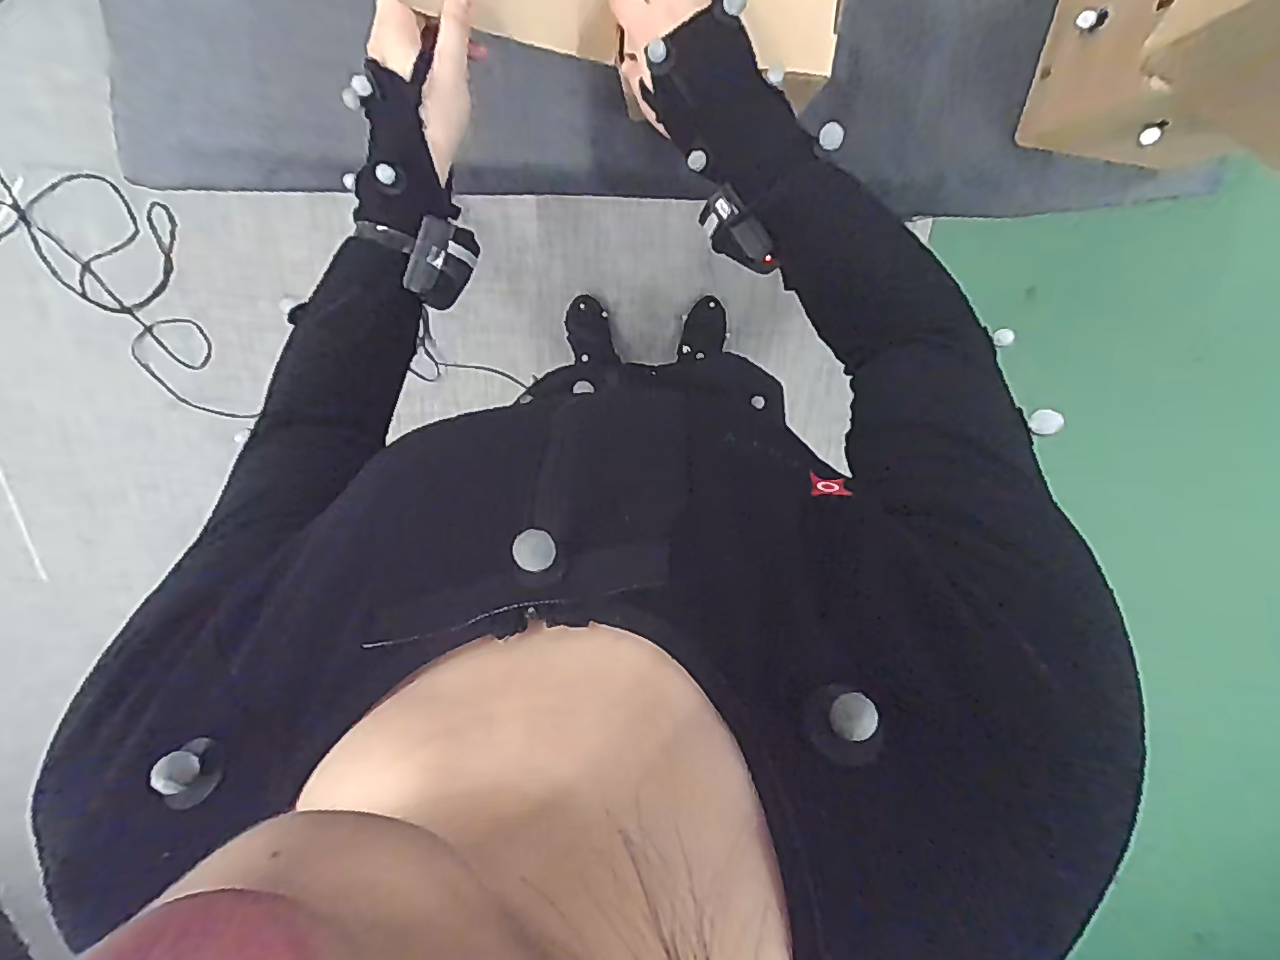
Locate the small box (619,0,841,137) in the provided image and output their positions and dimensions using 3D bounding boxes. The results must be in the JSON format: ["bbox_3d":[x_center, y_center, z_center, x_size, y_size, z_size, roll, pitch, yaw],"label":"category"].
[{"bbox_3d":[0.079,-0.430,0.495,0.179,0.176,0.168,5,110,2],"label":"small box"}]

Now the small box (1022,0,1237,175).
[{"bbox_3d":[0.504,-0.398,0.495,0.179,0.176,0.168,9,108,-1],"label":"small box"}]

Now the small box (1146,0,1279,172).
[{"bbox_3d":[0.503,-0.330,0.345,0.179,0.176,0.168,28,106,-9],"label":"small box"}]
